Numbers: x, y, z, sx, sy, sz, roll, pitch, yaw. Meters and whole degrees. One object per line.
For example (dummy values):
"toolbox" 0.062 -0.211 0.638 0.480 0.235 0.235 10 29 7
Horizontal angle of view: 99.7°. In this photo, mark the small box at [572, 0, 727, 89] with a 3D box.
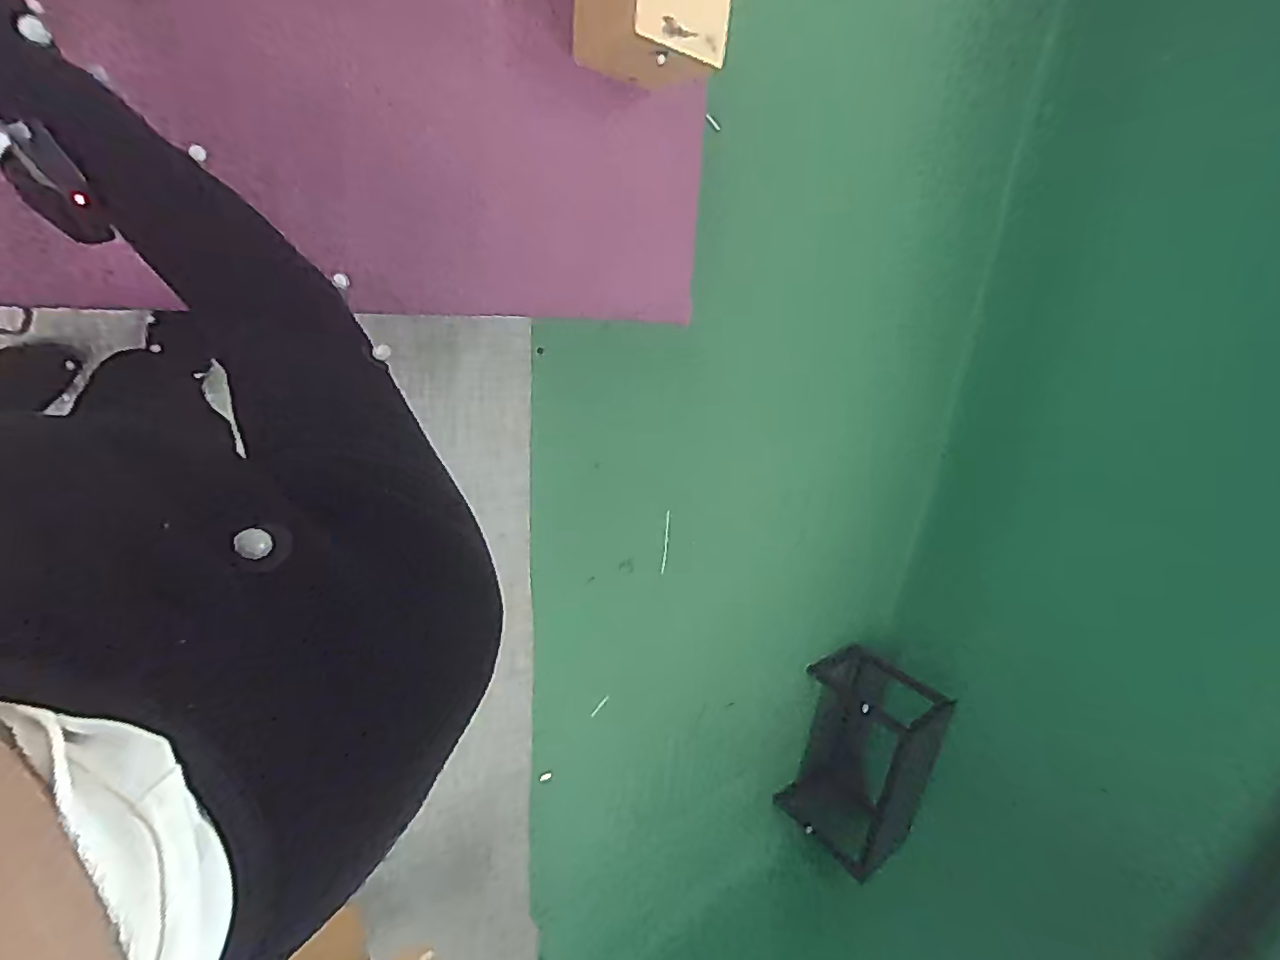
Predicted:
"small box" 0.012 -0.714 0.794 0.168 0.176 0.179 -10 114 -36
